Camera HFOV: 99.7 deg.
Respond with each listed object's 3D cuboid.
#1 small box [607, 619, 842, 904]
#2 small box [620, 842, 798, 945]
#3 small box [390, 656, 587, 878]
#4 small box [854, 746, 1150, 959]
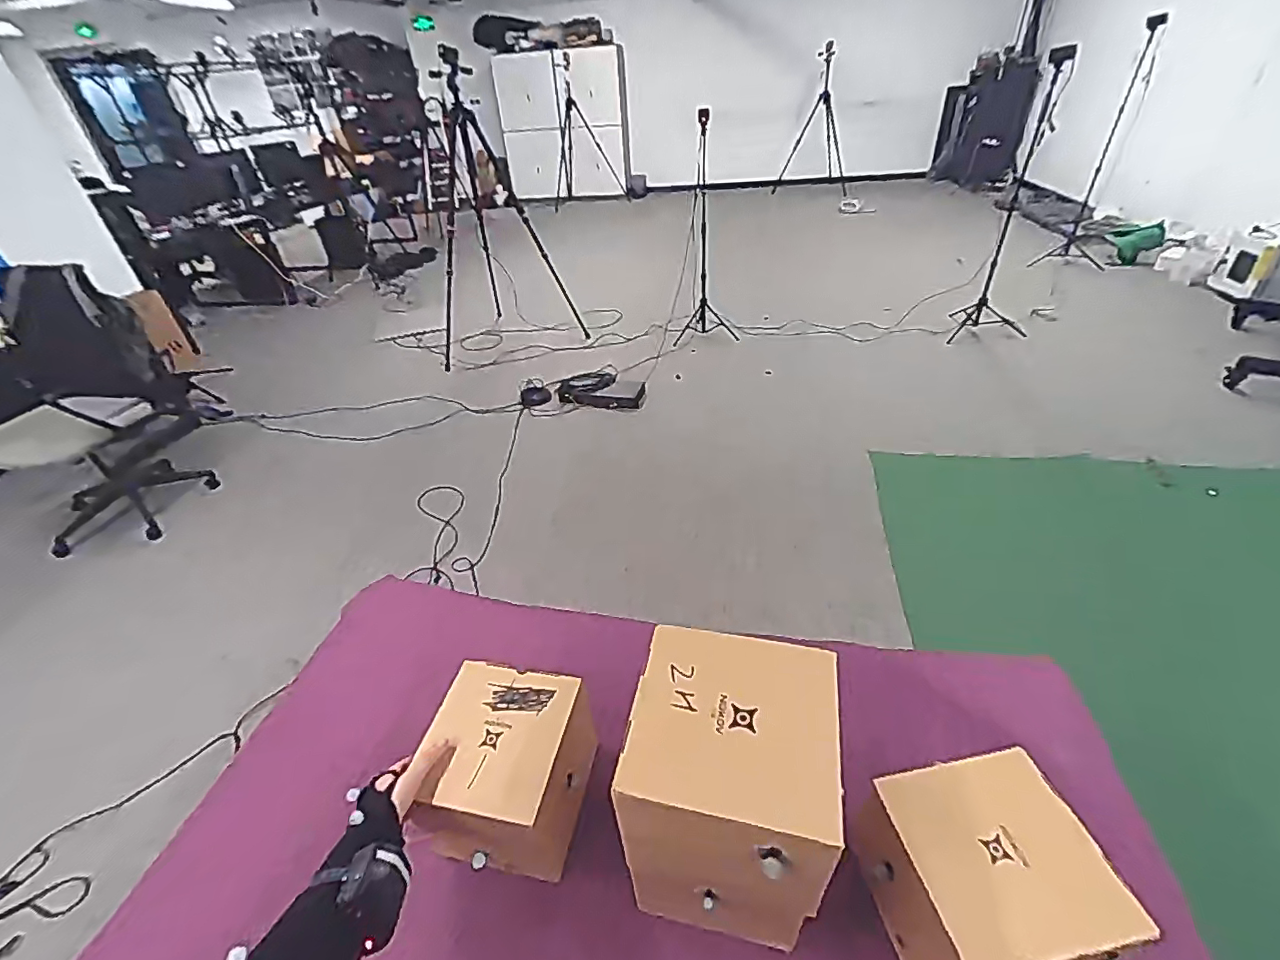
[{"bbox_3d":[0.082,0.260,0.507,0.179,0.176,0.168,6,38,14],"label":"small box"},{"bbox_3d":[0.088,0.386,0.613,0.179,0.176,0.168,7,39,13],"label":"small box"},{"bbox_3d":[-0.170,0.354,0.677,0.168,0.176,0.179,5,38,12],"label":"small box"},{"bbox_3d":[0.339,0.410,0.556,0.179,0.176,0.168,-8,36,-6],"label":"small box"}]
